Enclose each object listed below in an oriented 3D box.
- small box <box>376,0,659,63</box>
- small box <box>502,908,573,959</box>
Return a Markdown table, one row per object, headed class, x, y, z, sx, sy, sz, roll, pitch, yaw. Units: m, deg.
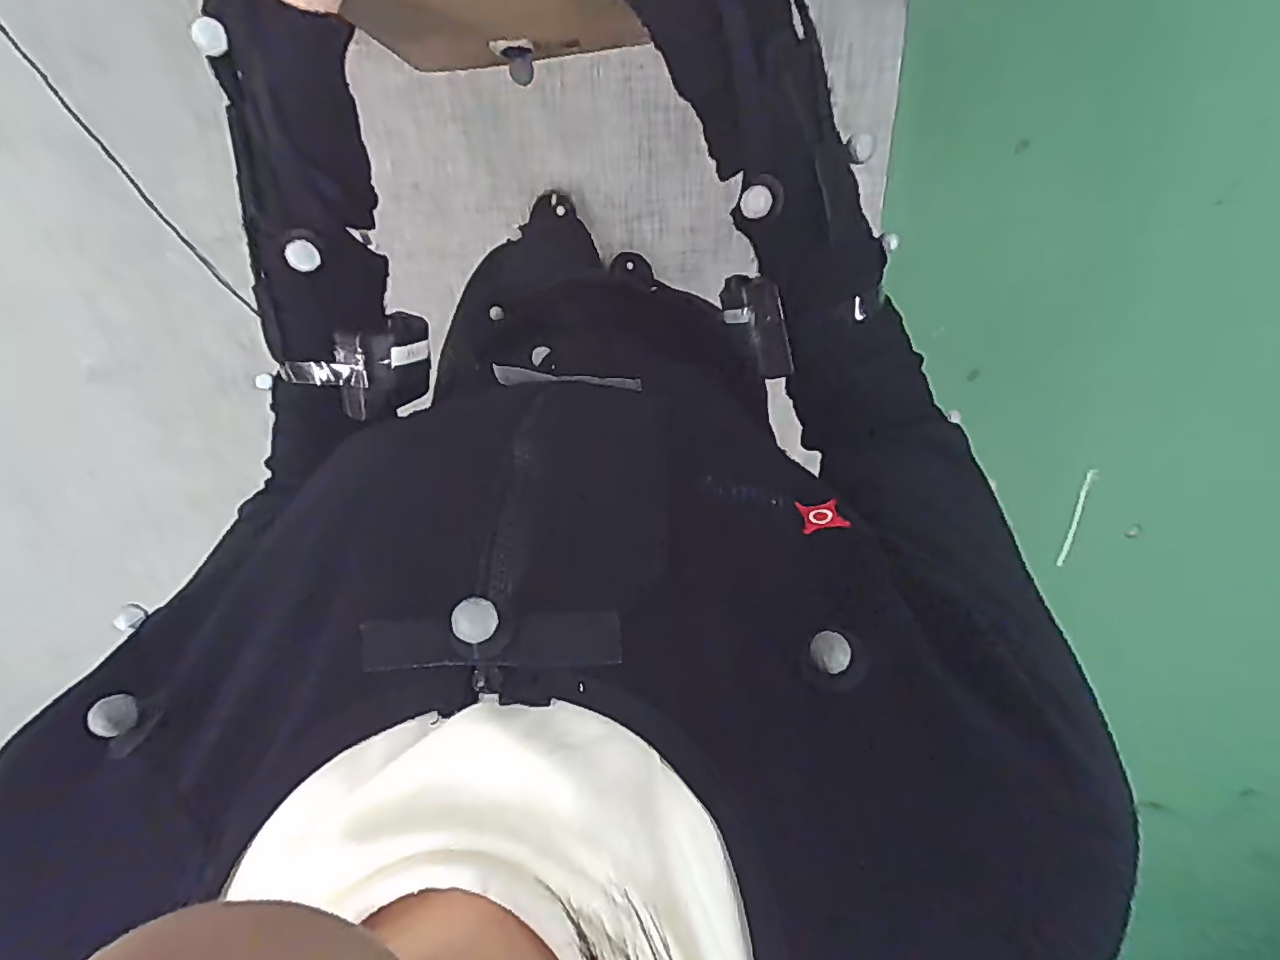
| class | x | y | z | sx | sy | sz | roll | pitch | yaw |
| --- | --- | --- | --- | --- | --- | --- | --- | --- | --- |
| small box | -0.078 | -0.339 | 0.260 | 0.168 | 0.176 | 0.179 | -7 | 115 | 3 |
| small box | -0.299 | 1.406 | 1.592 | 0.168 | 0.176 | 0.179 | -9 | 115 | 3 |
